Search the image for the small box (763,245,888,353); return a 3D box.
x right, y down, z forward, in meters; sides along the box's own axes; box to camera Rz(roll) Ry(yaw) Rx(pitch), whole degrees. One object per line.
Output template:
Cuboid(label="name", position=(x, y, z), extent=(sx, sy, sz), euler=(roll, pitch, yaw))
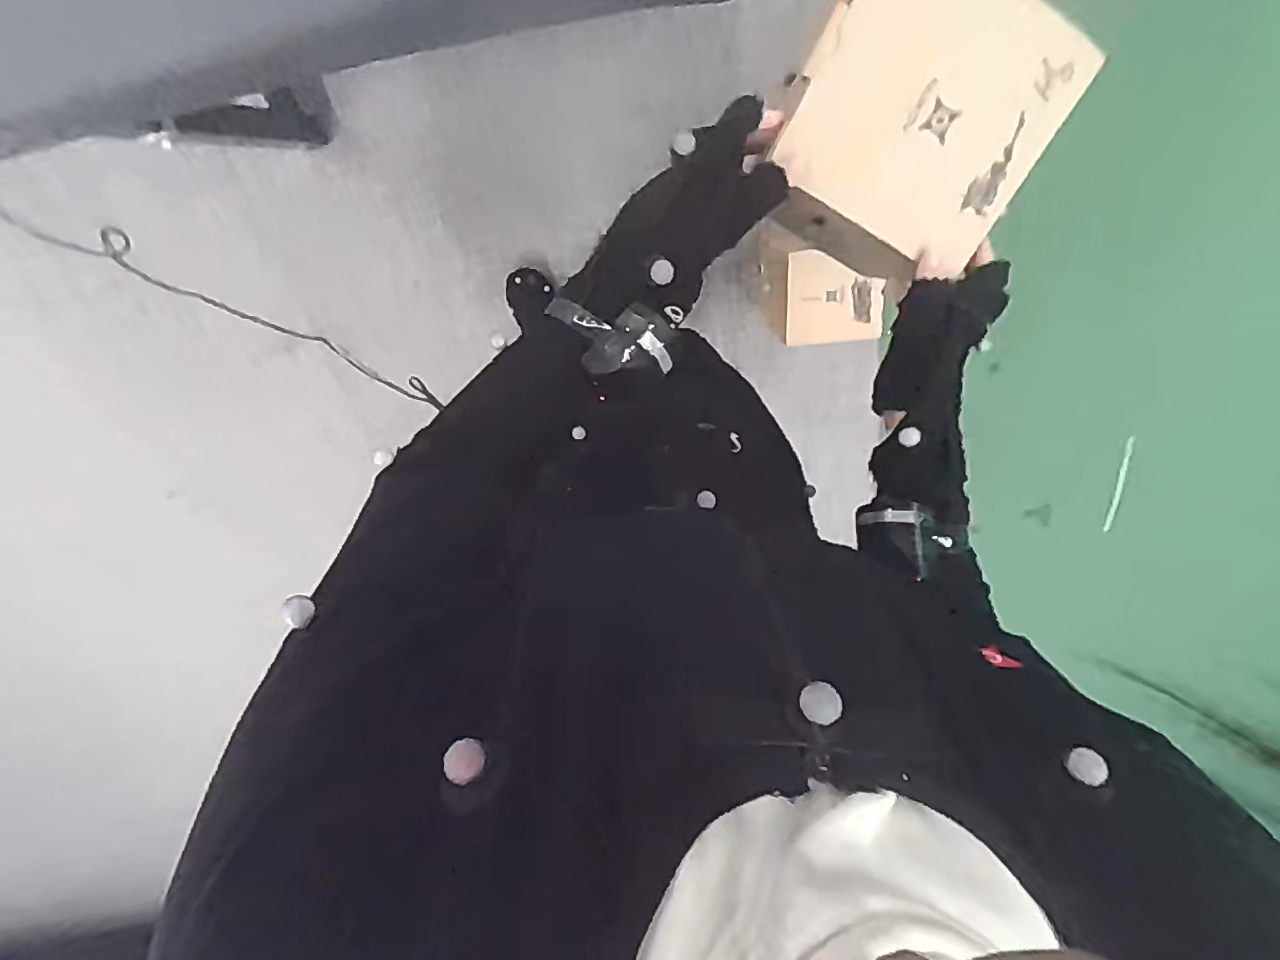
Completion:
Cuboid(label="small box", position=(0.343, -0.350, 1.033), extent=(0.179, 0.176, 0.168), euler=(-4, 118, 3))

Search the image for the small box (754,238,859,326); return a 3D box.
Cuboid(label="small box", position=(0.354, -0.428, 1.178), extent=(0.179, 0.176, 0.168), euler=(-3, 118, 3))
